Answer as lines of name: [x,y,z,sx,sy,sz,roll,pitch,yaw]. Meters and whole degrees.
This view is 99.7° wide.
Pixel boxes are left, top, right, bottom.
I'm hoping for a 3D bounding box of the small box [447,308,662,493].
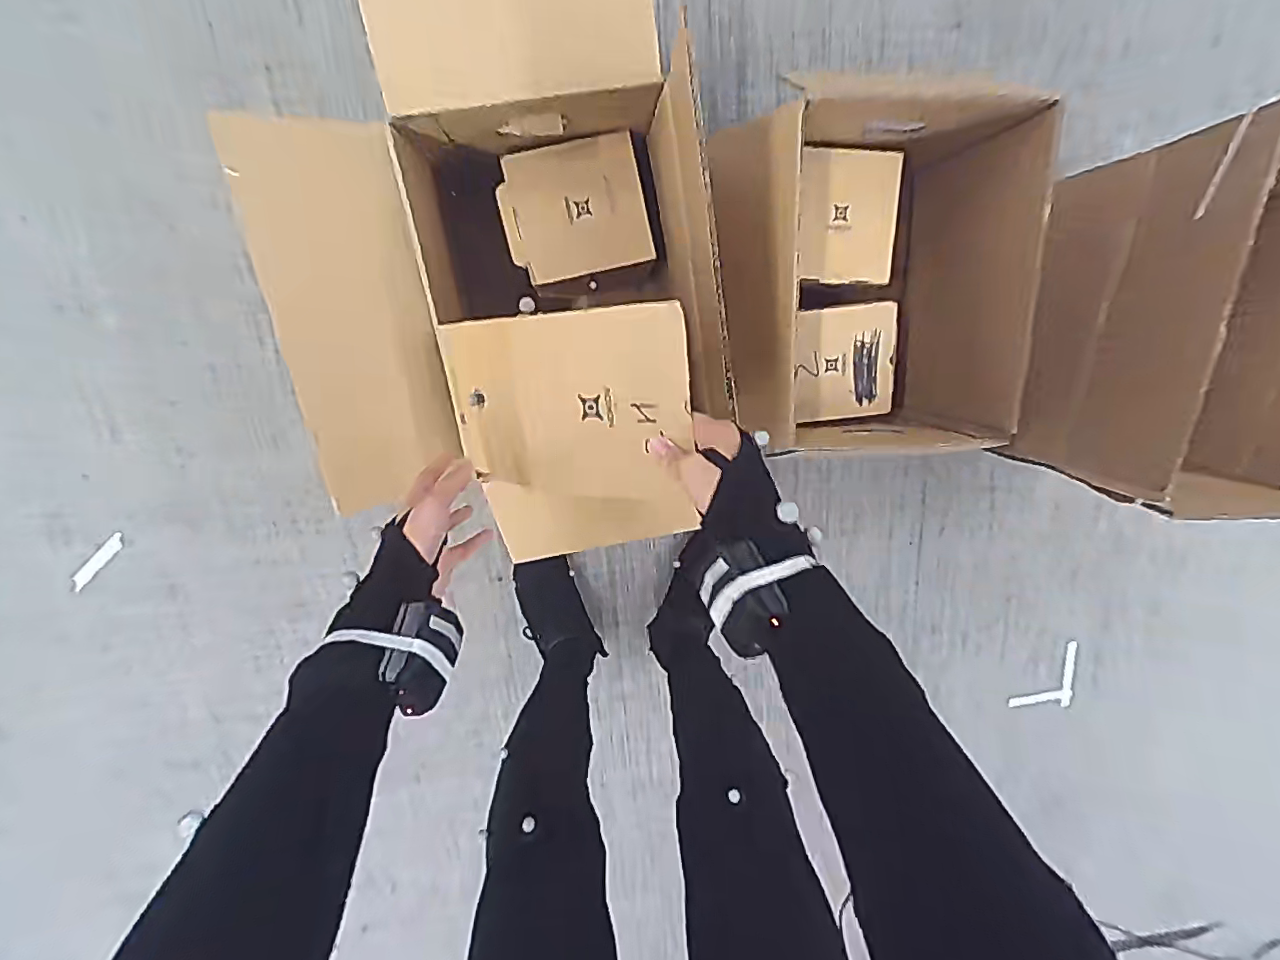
small box: [-0.099,-0.097,0.604,0.179,0.176,0.168,-19,113,-38]
